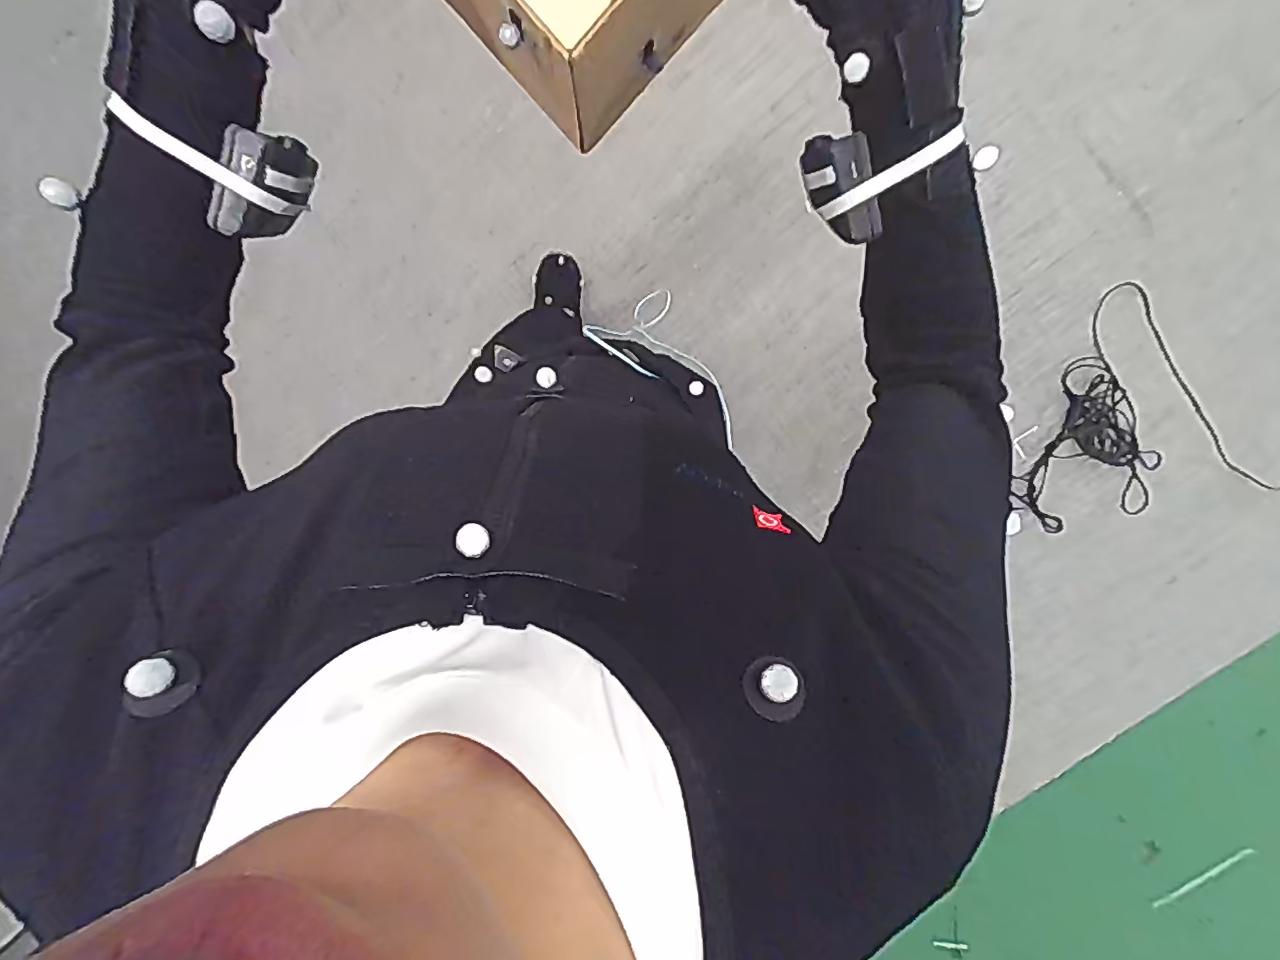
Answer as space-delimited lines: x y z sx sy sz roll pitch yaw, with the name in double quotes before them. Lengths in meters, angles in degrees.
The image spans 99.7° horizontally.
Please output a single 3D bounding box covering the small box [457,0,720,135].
"small box" -0.041 -0.363 0.335 0.168 0.176 0.179 -44 105 8
